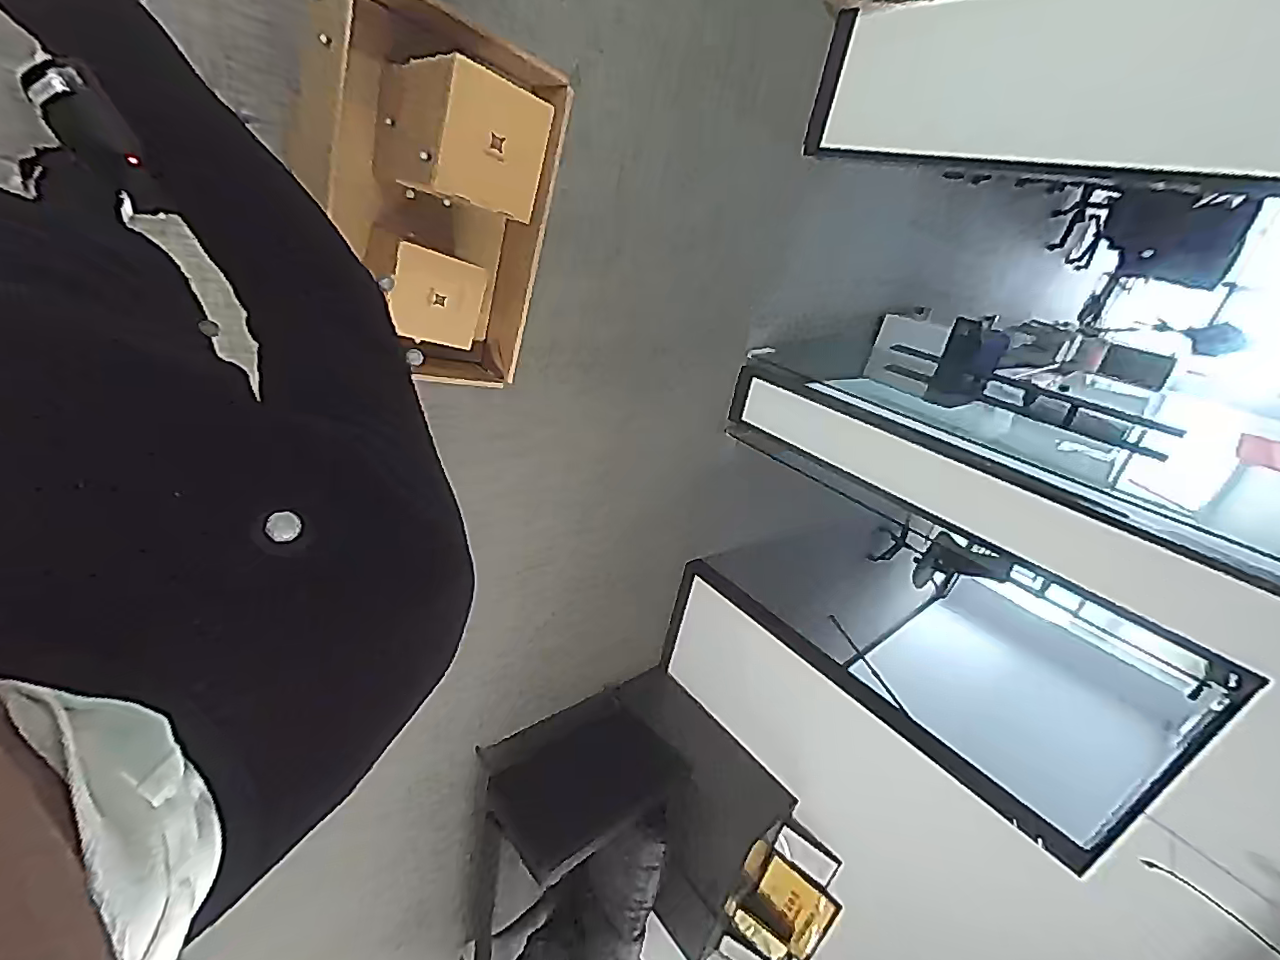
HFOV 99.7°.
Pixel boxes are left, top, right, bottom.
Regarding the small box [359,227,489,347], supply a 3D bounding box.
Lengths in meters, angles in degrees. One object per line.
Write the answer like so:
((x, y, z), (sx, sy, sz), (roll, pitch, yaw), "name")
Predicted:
((-0.433, -0.383, 1.069), (0.179, 0.176, 0.168), (4, 115, -45), "small box")

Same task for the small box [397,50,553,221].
((-0.269, -0.542, 0.861), (0.168, 0.176, 0.179), (-1, 119, -44), "small box")
